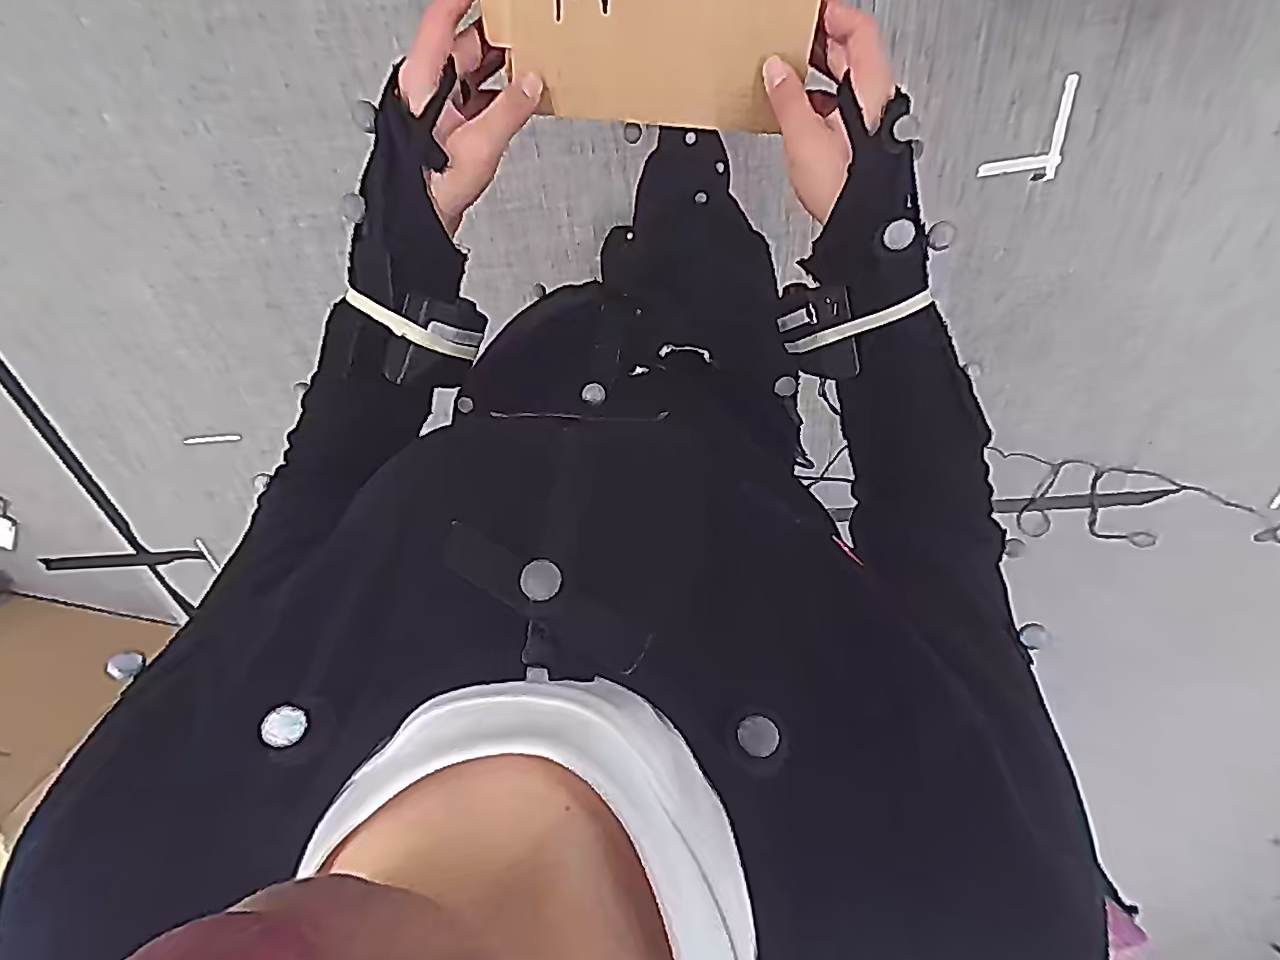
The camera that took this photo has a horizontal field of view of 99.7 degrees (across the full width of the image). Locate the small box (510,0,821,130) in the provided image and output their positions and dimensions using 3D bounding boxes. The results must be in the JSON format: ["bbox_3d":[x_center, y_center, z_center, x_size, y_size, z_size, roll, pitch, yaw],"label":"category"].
[{"bbox_3d":[0.014,-0.336,0.348,0.179,0.176,0.168,2,127,-5],"label":"small box"}]
